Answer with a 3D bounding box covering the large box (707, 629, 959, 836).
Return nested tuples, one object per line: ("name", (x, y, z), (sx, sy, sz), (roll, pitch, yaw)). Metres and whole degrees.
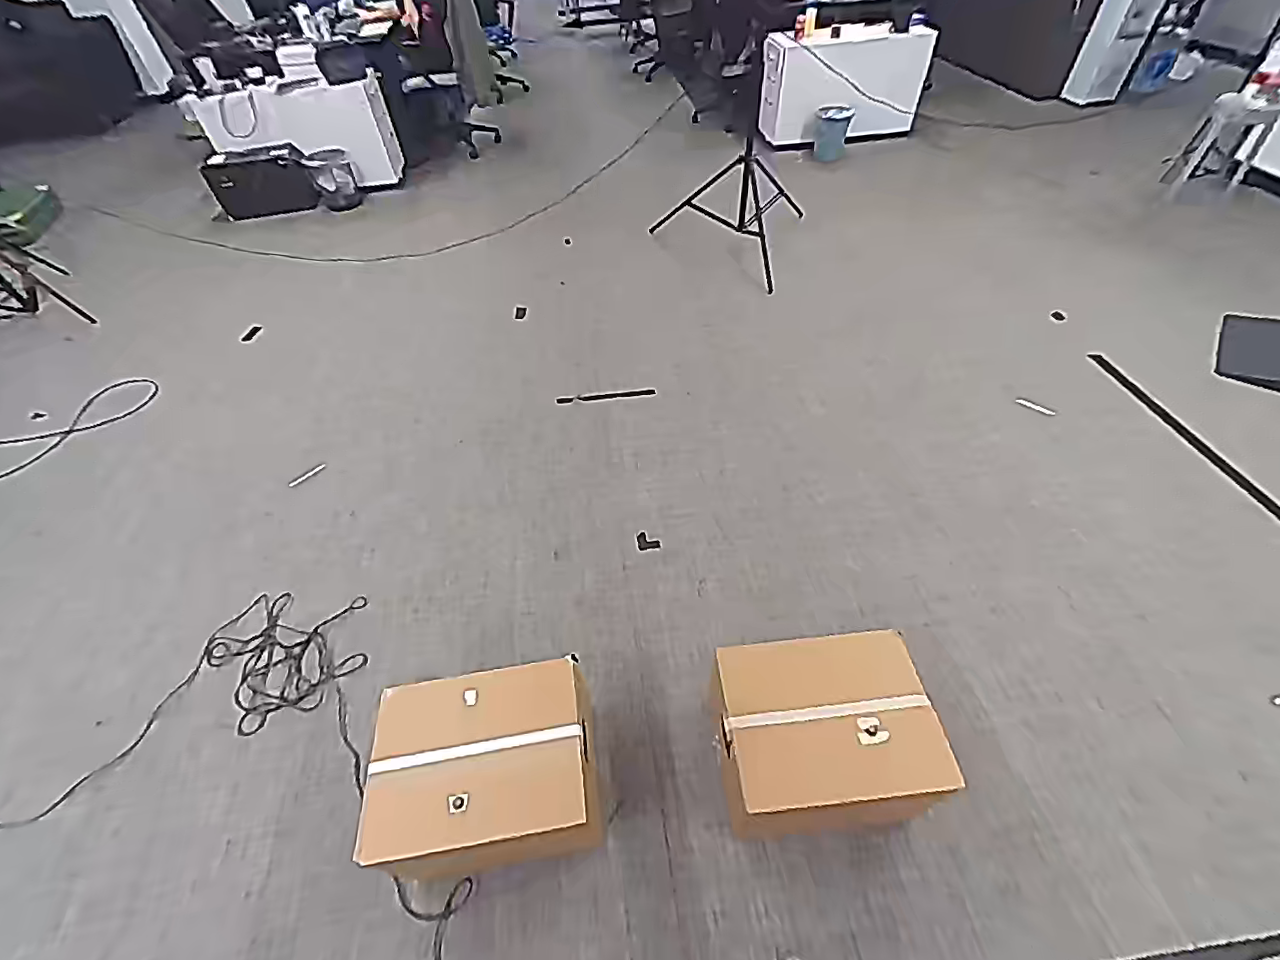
("large box", (0.380, 0.559, 1.192), (0.408, 0.320, 0.320), (-5, 49, -2))
